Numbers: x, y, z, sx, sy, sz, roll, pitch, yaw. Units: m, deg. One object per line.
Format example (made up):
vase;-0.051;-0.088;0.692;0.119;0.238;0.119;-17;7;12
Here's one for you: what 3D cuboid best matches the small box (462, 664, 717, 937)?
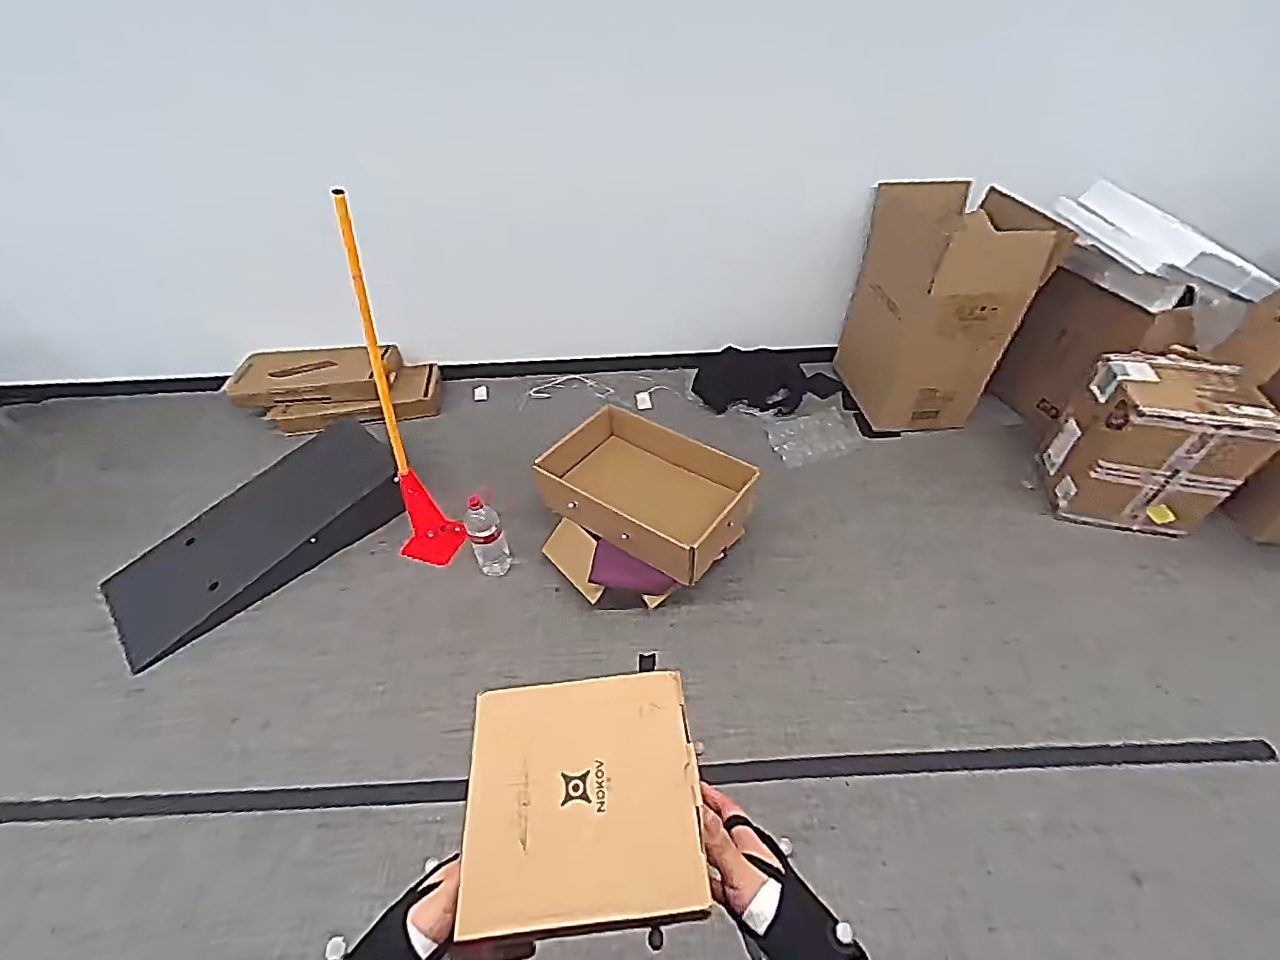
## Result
small box;-0.035;0.283;0.474;0.179;0.176;0.168;-9;48;0
